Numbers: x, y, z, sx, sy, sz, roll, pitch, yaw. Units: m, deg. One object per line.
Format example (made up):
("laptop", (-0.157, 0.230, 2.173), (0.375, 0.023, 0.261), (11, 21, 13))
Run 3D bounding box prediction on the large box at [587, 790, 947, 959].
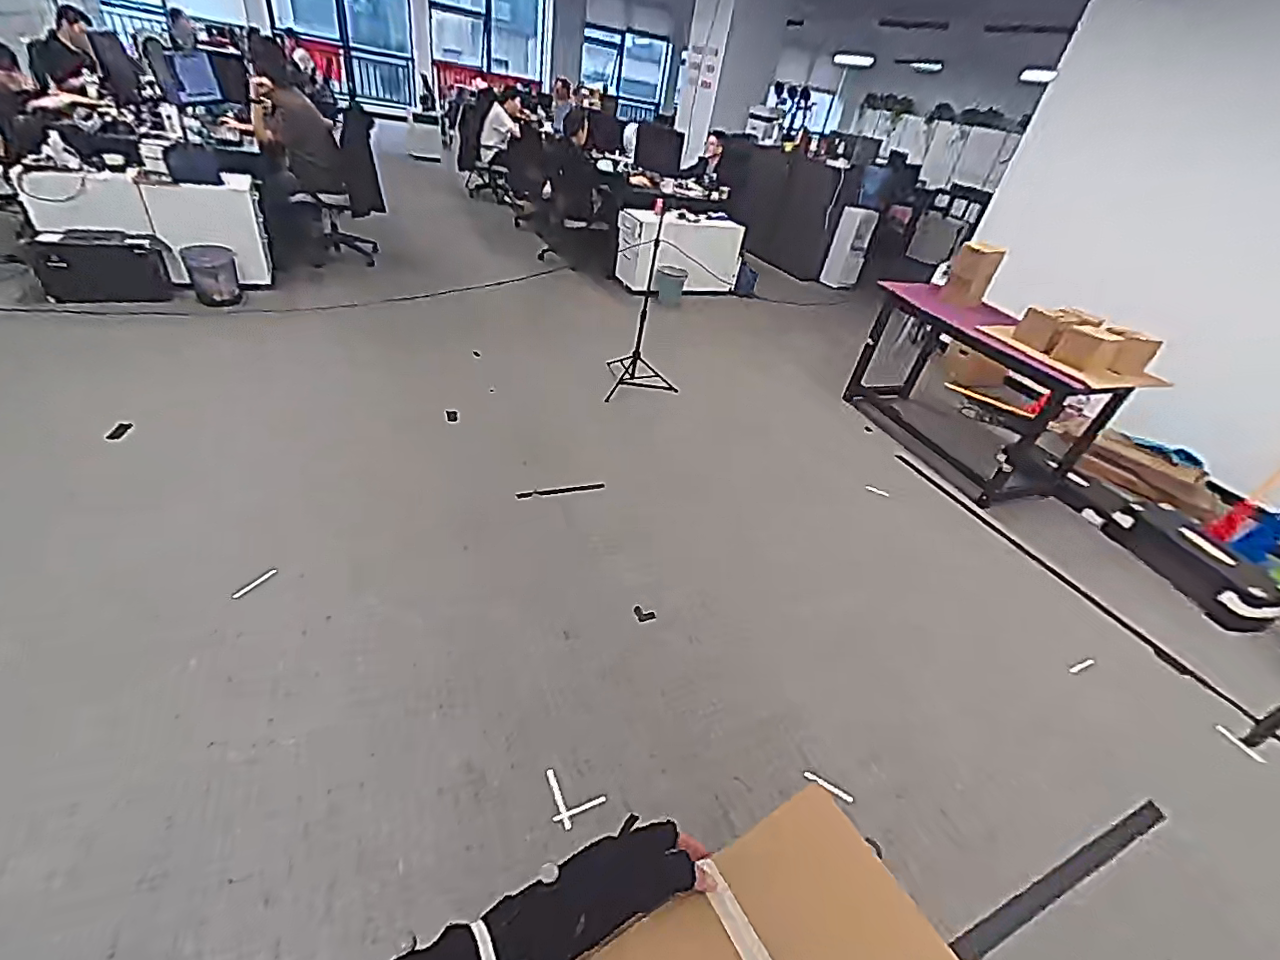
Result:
("large box", (0.132, 0.585, 0.461), (0.320, 0.320, 0.408), (-14, 45, -32))
